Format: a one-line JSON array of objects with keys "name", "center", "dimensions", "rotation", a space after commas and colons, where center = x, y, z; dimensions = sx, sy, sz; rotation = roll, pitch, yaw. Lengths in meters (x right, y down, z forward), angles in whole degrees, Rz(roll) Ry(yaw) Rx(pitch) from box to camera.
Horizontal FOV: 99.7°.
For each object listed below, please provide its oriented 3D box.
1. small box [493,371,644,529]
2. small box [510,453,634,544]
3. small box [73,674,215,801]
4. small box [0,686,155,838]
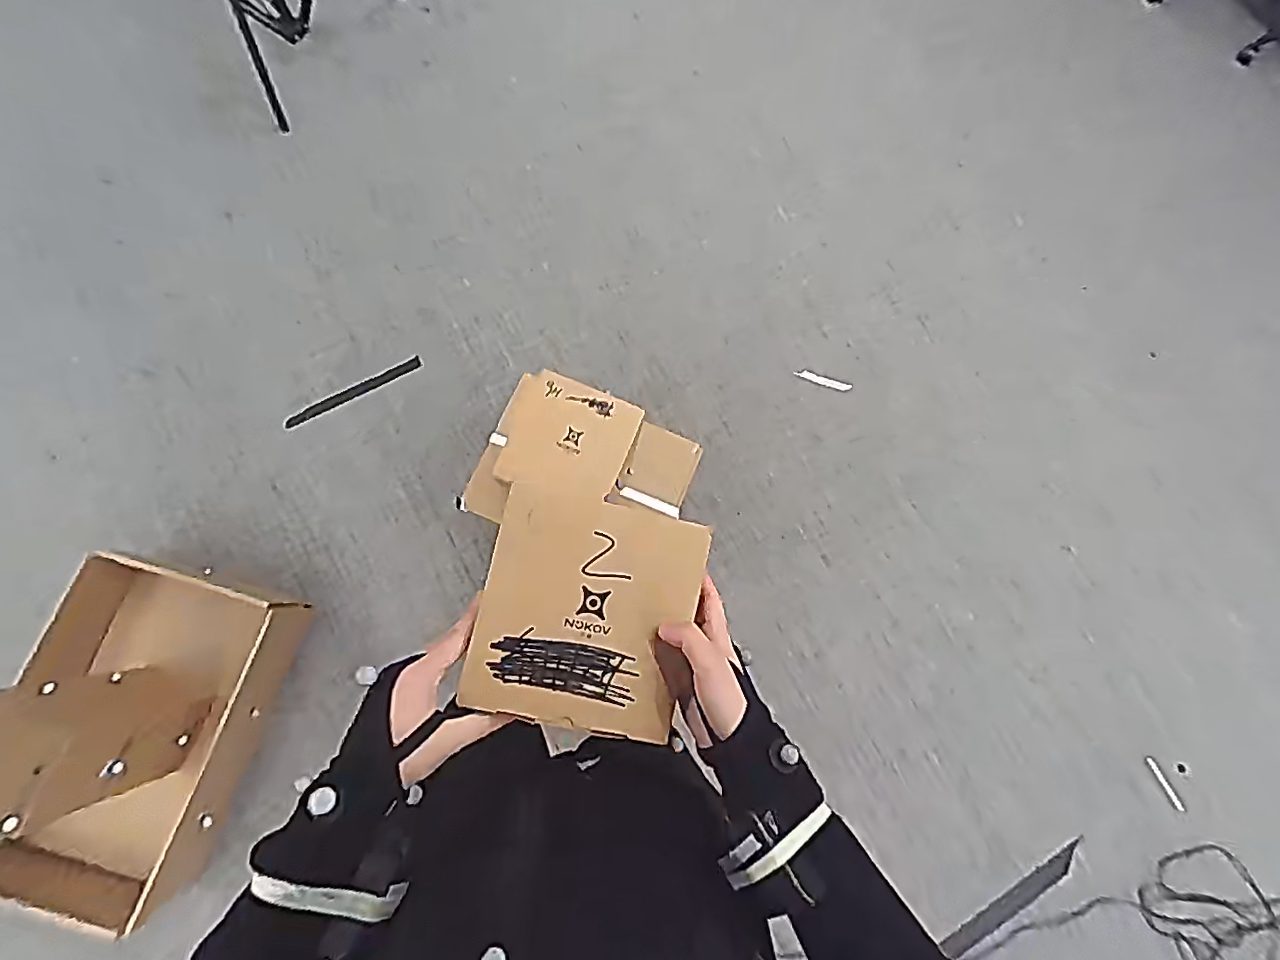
[{"name": "small box", "center": [-0.105, -0.035, 0.843], "dimensions": [0.168, 0.176, 0.179], "rotation": [22, 77, -1]}, {"name": "small box", "center": [-0.120, 0.009, 1.001], "dimensions": [0.168, 0.176, 0.179], "rotation": [22, 77, 0]}, {"name": "small box", "center": [-1.023, 0.501, 1.082], "dimensions": [0.179, 0.176, 0.168], "rotation": [21, 78, 0]}, {"name": "small box", "center": [-1.011, 0.466, 0.925], "dimensions": [0.179, 0.176, 0.168], "rotation": [20, 78, -1]}]
